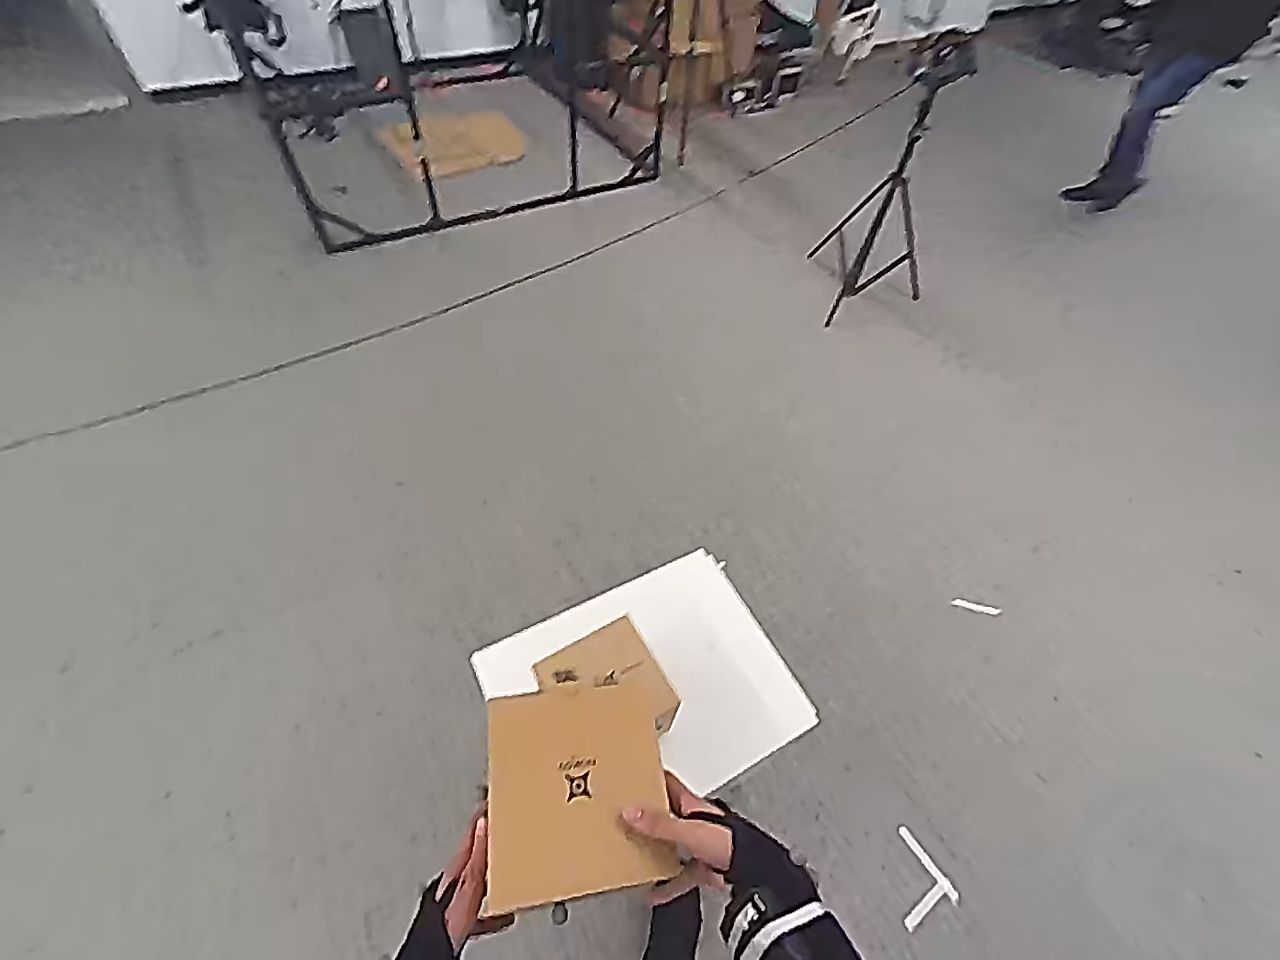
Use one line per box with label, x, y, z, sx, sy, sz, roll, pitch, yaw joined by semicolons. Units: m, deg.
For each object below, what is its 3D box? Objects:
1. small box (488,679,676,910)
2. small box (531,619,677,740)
small box;-0.069;0.334;0.576;0.168;0.176;0.179;-3;51;-12
small box;-0.060;0.367;0.888;0.179;0.176;0.168;-23;58;-22
